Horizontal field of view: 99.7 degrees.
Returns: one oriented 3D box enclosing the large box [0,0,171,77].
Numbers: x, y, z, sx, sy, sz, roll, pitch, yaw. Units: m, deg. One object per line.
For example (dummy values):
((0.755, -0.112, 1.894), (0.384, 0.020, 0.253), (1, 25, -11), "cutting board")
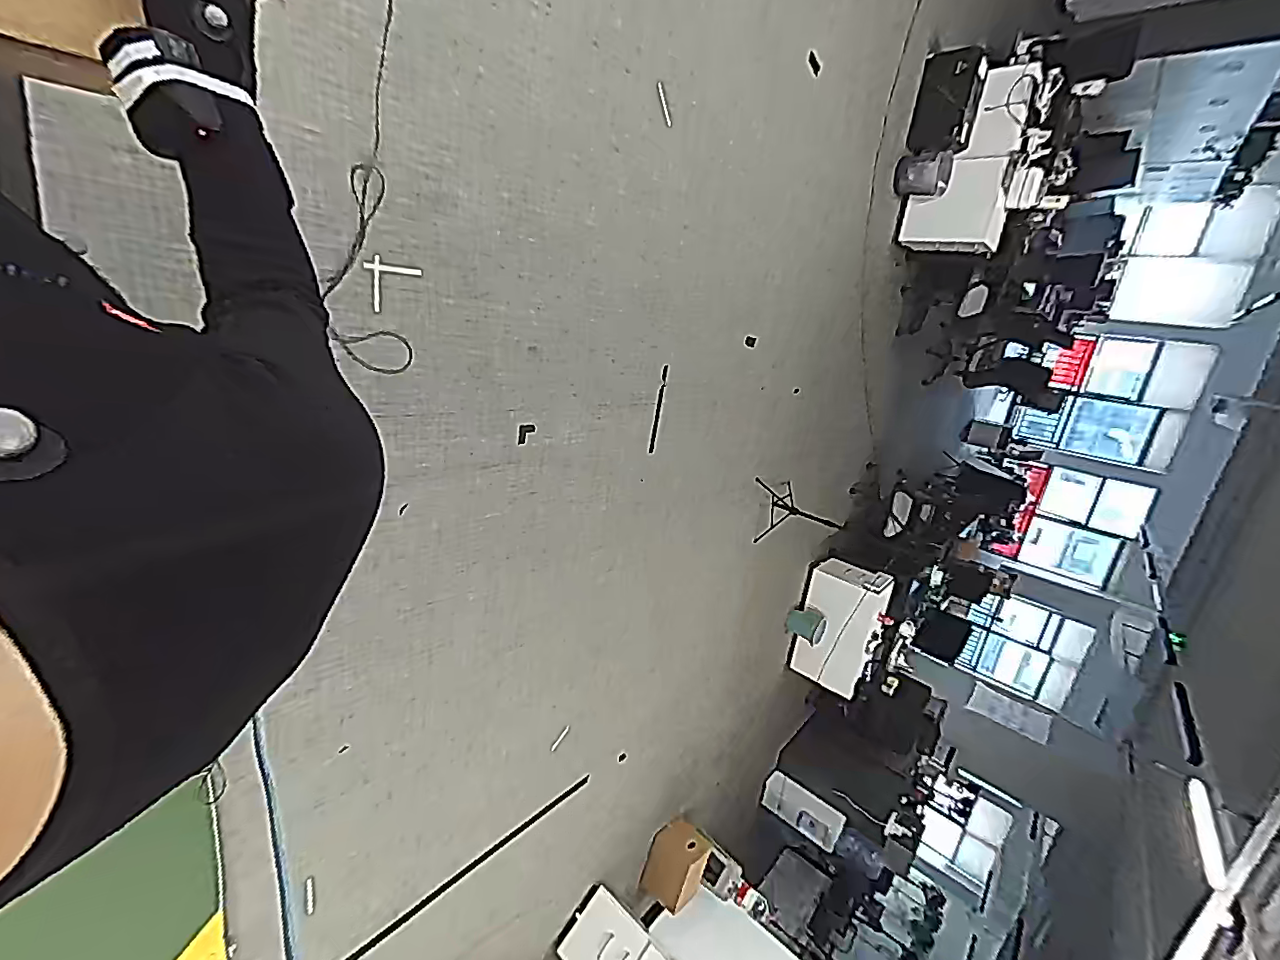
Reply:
((-0.591, -0.487, 0.312), (0.408, 0.320, 0.320), (-16, 125, -47), "large box")
